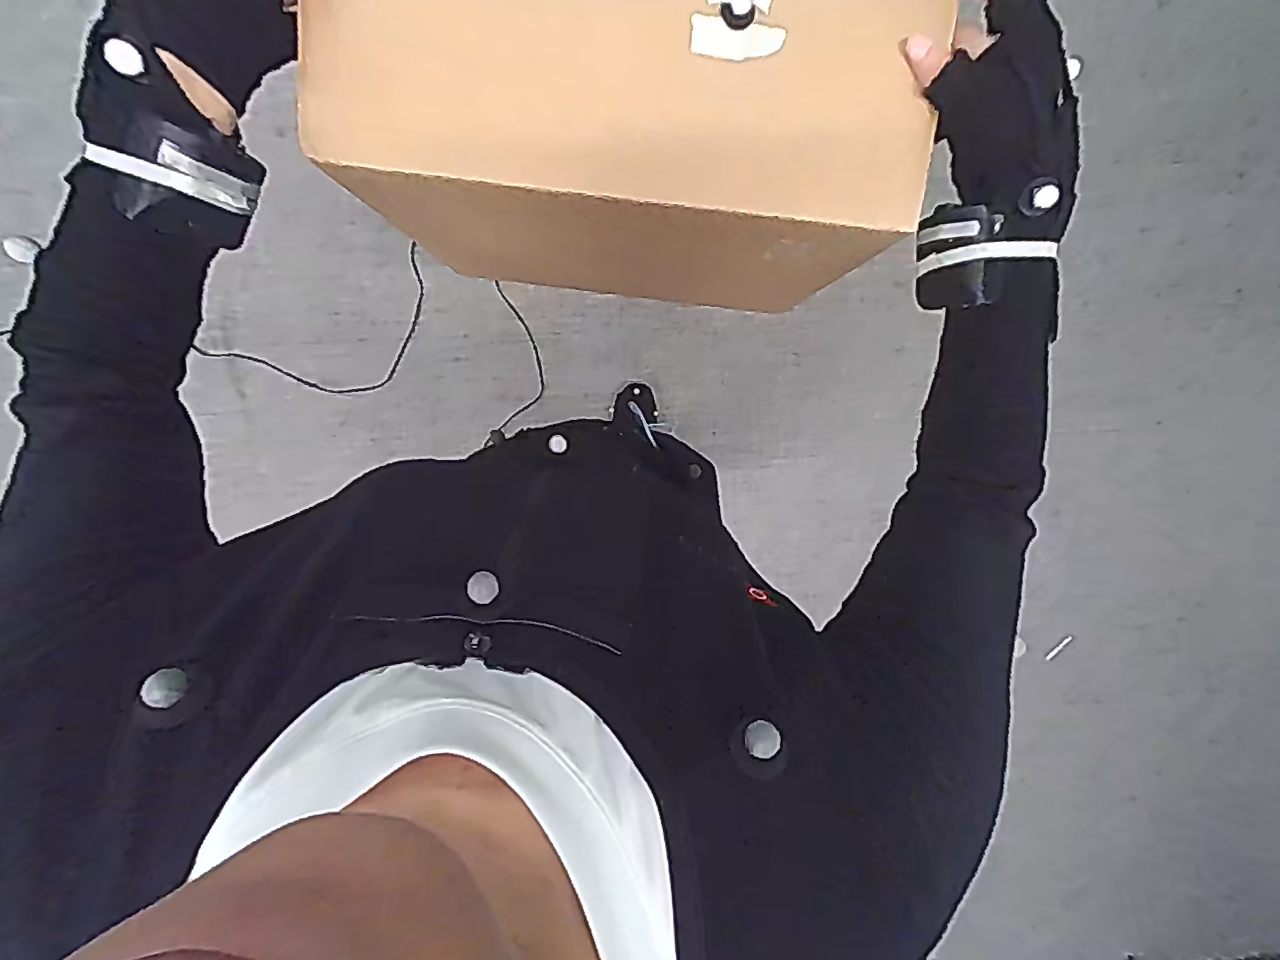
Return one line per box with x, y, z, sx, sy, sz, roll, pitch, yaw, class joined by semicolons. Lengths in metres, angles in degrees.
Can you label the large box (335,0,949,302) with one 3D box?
0.003;-0.364;0.494;0.408;0.320;0.320;6;98;-2;large box
